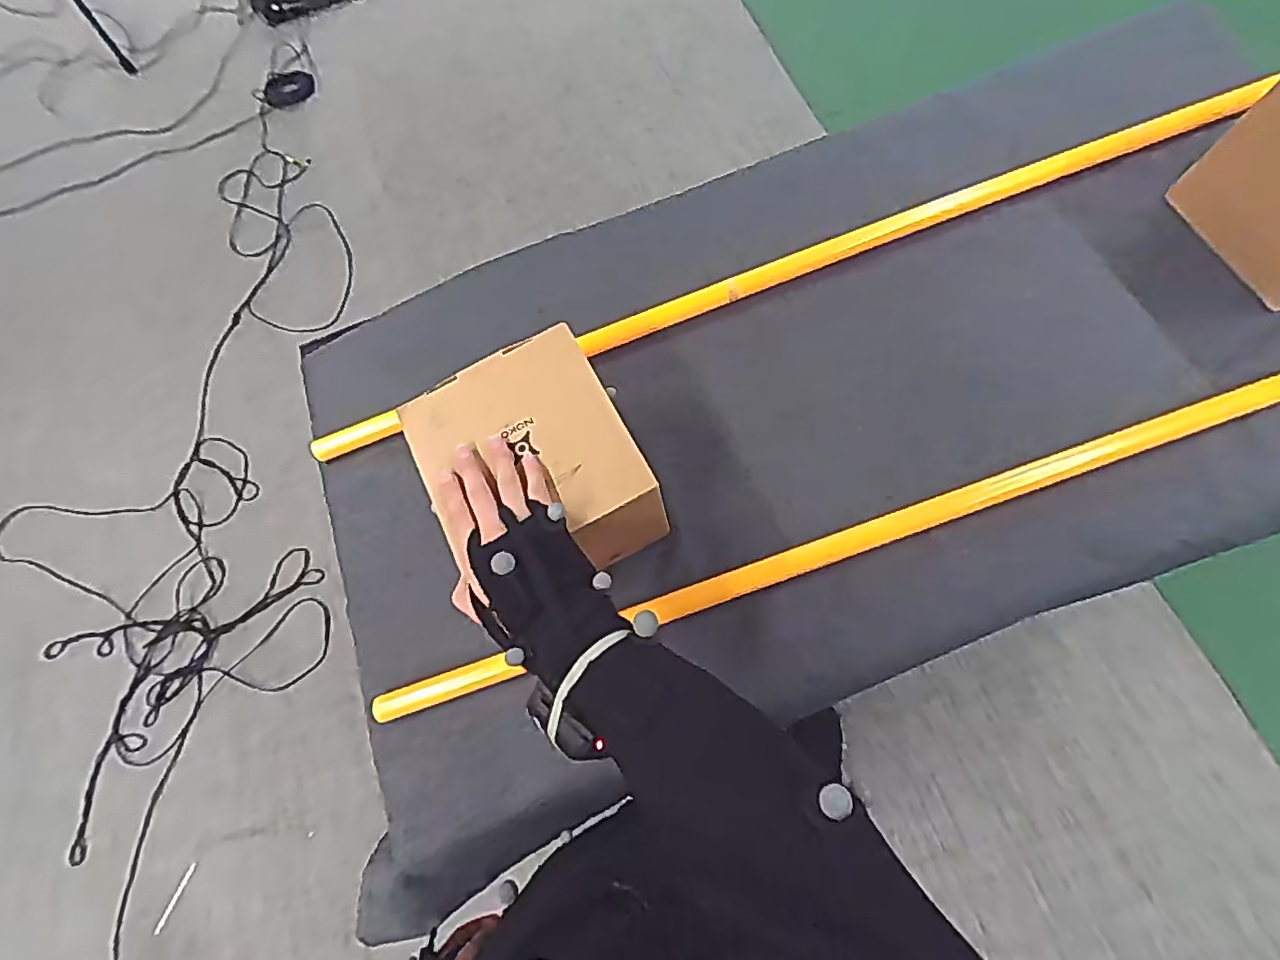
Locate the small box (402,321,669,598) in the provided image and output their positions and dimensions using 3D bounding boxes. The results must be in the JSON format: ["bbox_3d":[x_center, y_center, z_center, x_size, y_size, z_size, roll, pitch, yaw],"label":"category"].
[{"bbox_3d":[-0.085,-0.007,0.512,0.168,0.176,0.179,-29,72,-3],"label":"small box"}]

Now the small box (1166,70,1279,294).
[{"bbox_3d":[0.690,-0.305,0.517,0.168,0.176,0.179,-21,70,0],"label":"small box"}]
